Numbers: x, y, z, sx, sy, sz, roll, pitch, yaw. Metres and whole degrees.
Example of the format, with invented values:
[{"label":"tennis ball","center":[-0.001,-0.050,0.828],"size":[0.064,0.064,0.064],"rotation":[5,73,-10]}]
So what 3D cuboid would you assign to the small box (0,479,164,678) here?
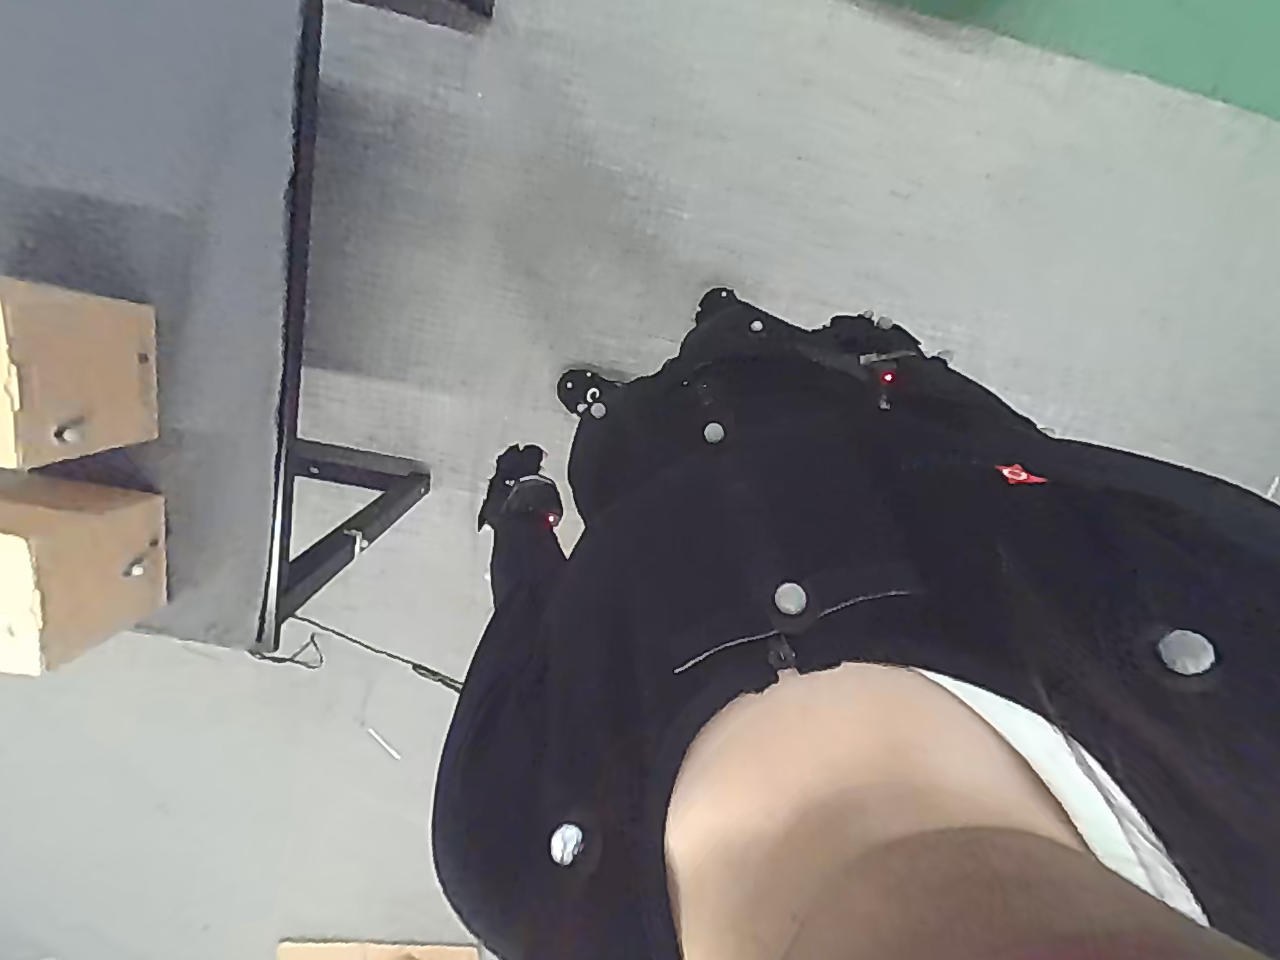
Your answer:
[{"label":"small box","center":[-0.721,0.103,0.639],"size":[0.179,0.176,0.168],"rotation":[10,104,-4]}]
